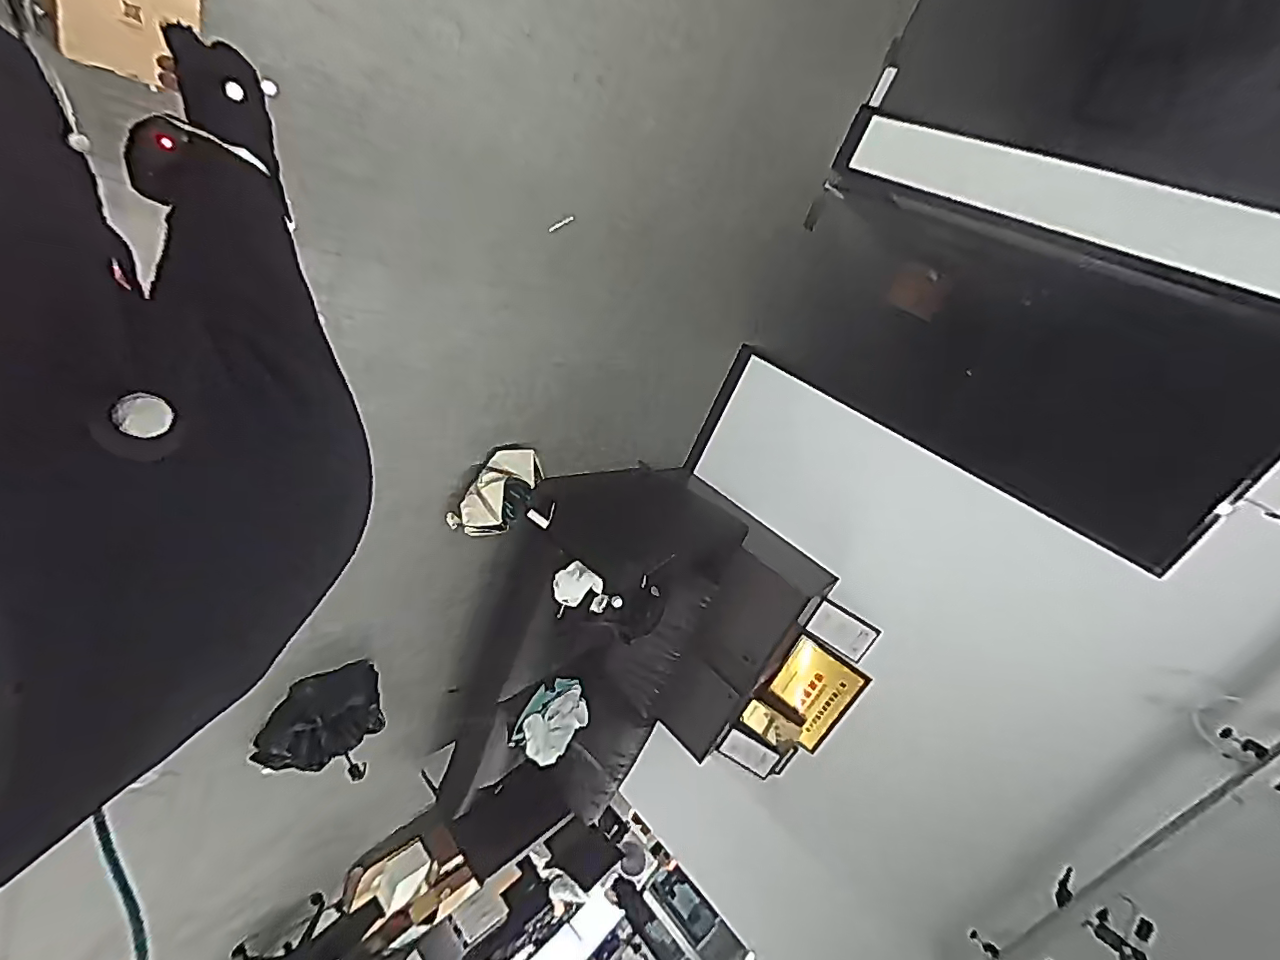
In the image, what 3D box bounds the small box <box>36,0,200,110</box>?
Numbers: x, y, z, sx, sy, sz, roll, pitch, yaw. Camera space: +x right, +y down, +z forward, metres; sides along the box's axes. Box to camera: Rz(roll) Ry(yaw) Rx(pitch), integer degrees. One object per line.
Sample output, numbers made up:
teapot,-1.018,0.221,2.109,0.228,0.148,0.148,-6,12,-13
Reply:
small box,-0.834,-0.738,0.866,0.168,0.176,0.179,-12,132,-51
